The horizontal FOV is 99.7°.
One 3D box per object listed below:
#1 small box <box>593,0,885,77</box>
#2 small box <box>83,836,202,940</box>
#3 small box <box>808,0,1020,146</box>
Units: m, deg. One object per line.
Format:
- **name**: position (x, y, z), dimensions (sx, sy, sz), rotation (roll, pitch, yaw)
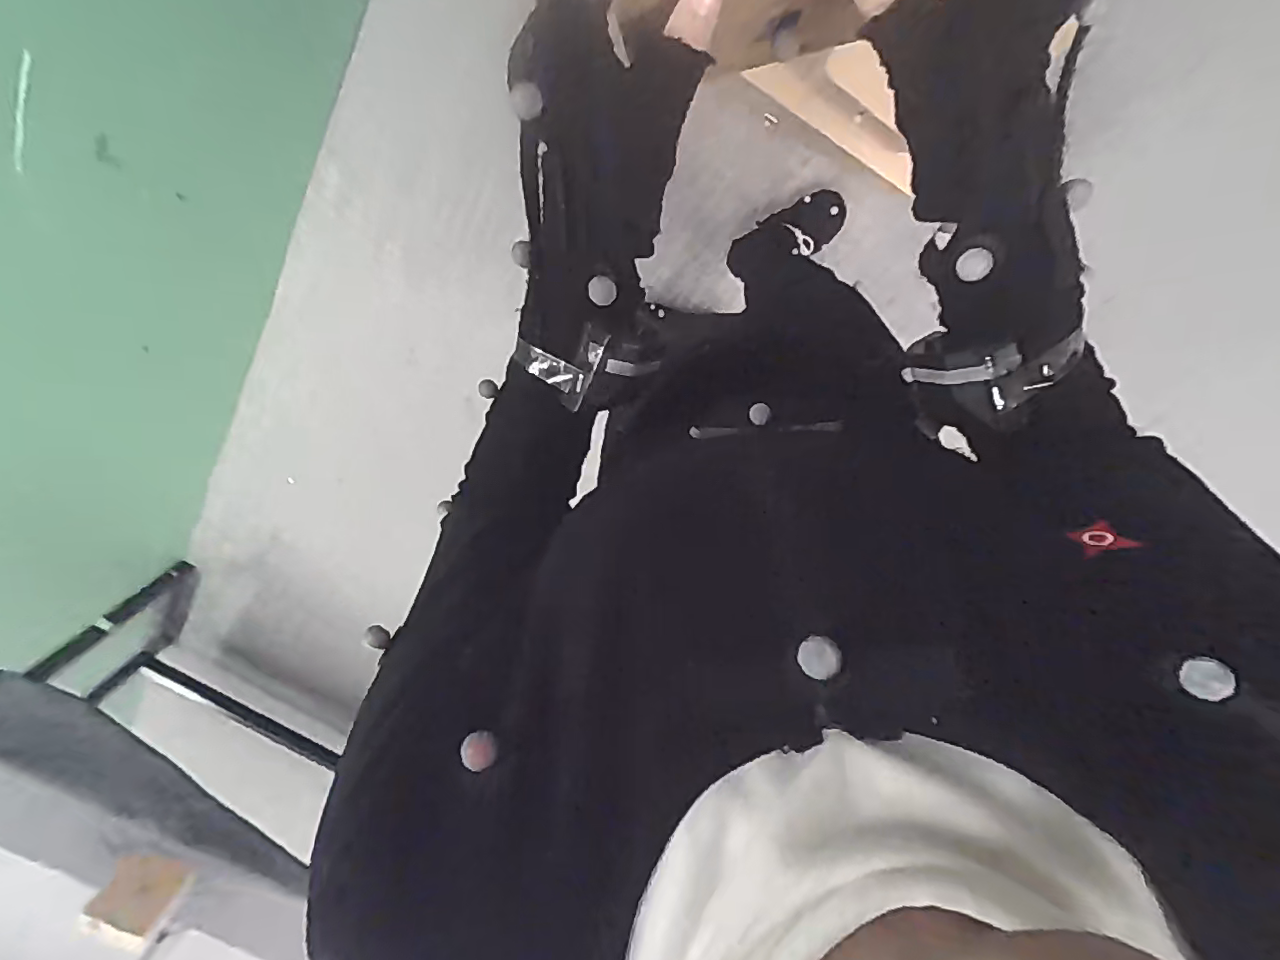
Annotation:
- **small box**: position (0.048, -0.318, 0.250), dimensions (0.168, 0.176, 0.179), rotation (-10, 113, 8)
- **small box**: position (-1.393, 1.139, 1.519), dimensions (0.179, 0.176, 0.168), rotation (33, 120, -11)
- **small box**: position (0.352, -0.584, 0.737), dimensions (0.179, 0.176, 0.168), rotation (31, 121, -10)
